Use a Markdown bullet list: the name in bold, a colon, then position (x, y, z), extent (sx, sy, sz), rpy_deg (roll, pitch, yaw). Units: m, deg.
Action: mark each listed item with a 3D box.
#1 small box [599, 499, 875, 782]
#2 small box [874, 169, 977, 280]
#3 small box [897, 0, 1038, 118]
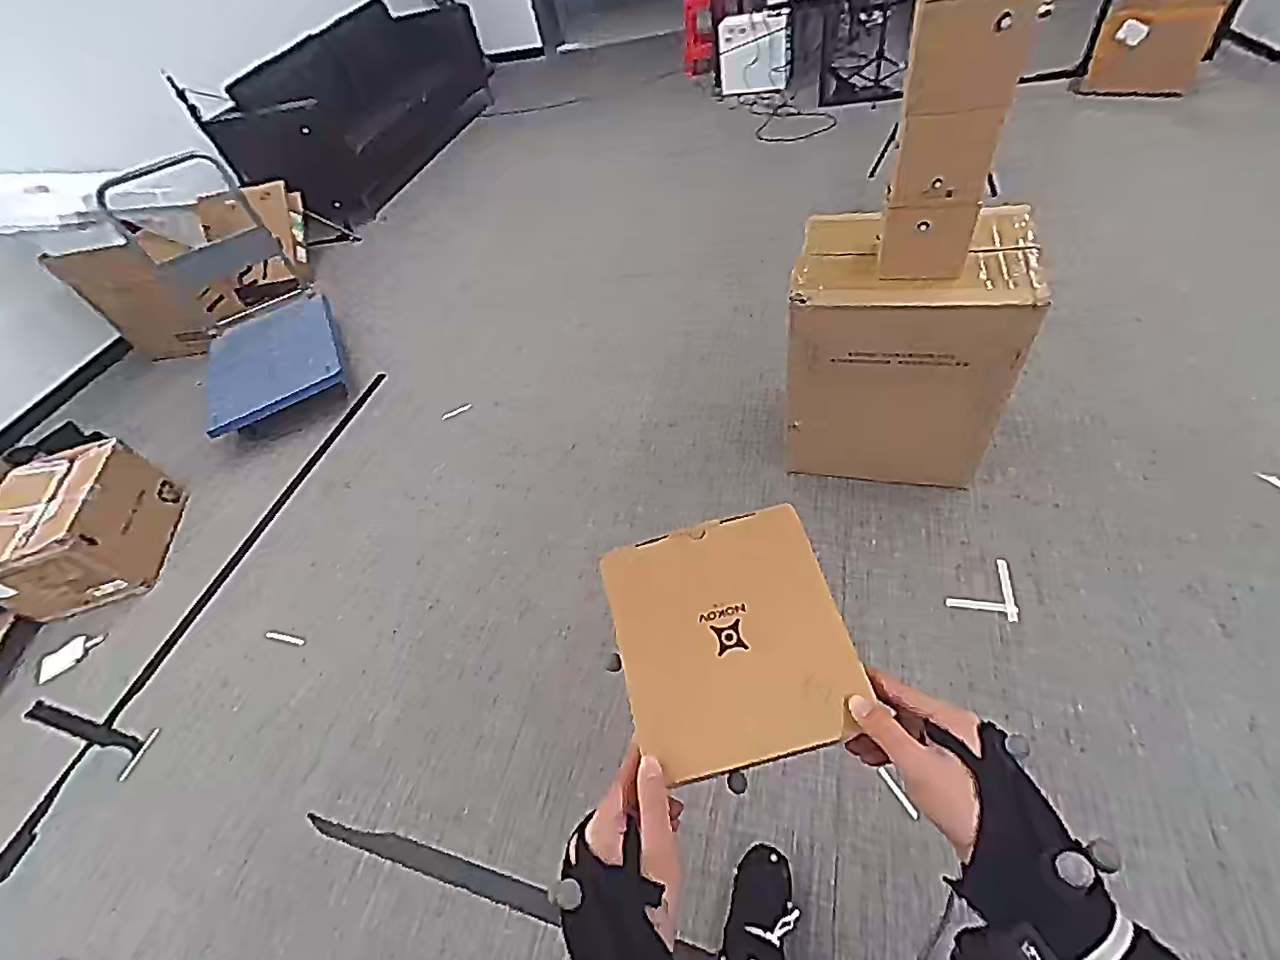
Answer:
- **small box**: position (0.074, 0.147, 0.469), extent (0.168, 0.176, 0.179), rpy_deg (-15, 58, 0)
- **small box**: position (0.628, -0.565, 1.208), extent (0.179, 0.176, 0.168), rpy_deg (6, 54, 18)
- **small box**: position (0.569, -0.774, 0.960), extent (0.179, 0.176, 0.168), rpy_deg (6, 54, 18)
